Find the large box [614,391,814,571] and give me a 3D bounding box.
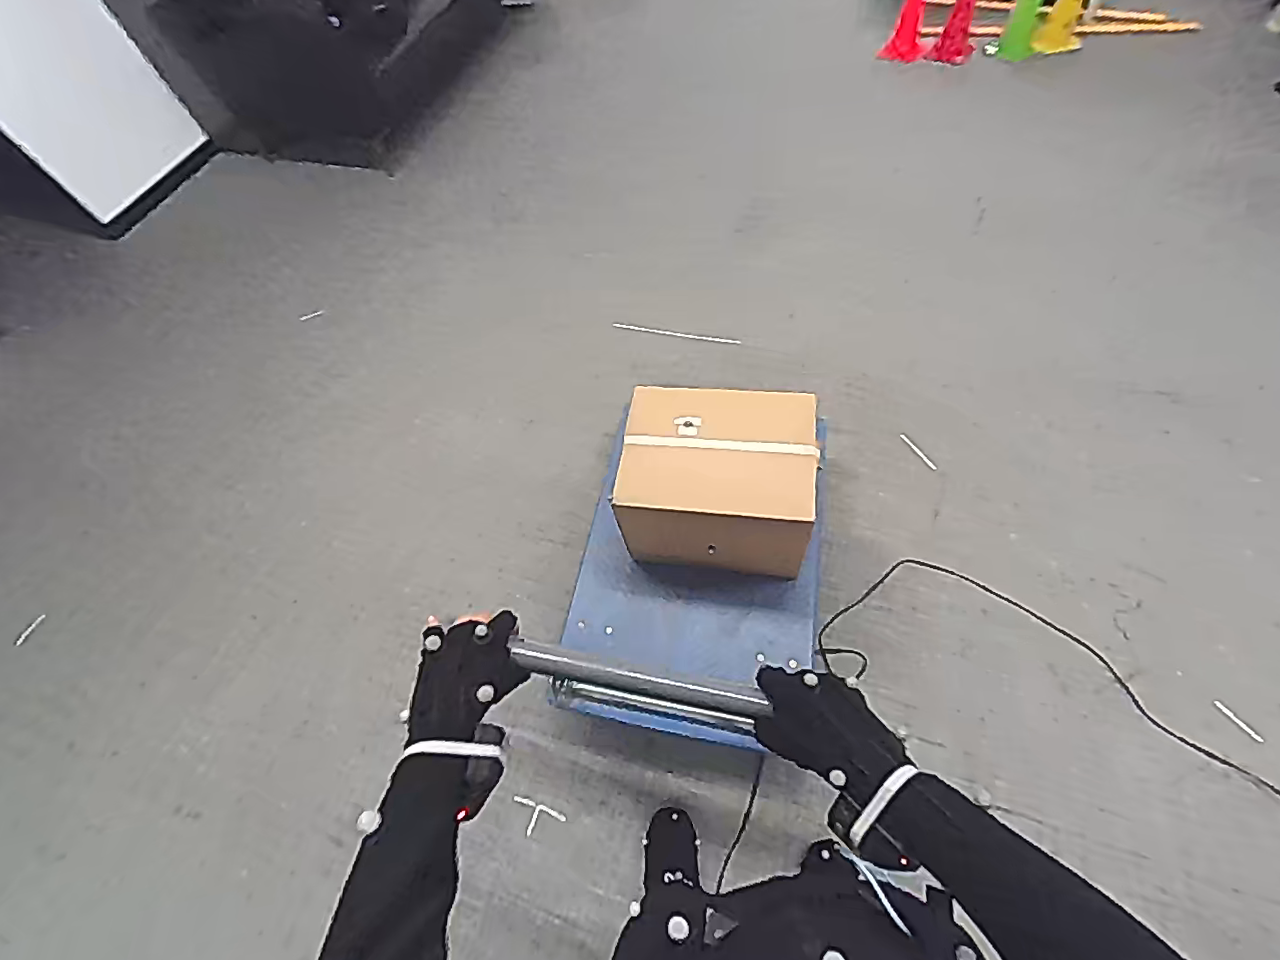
[{"bbox_3d":[0.182,0.009,1.273,0.408,0.320,0.320,4,60,12],"label":"large box"}]
